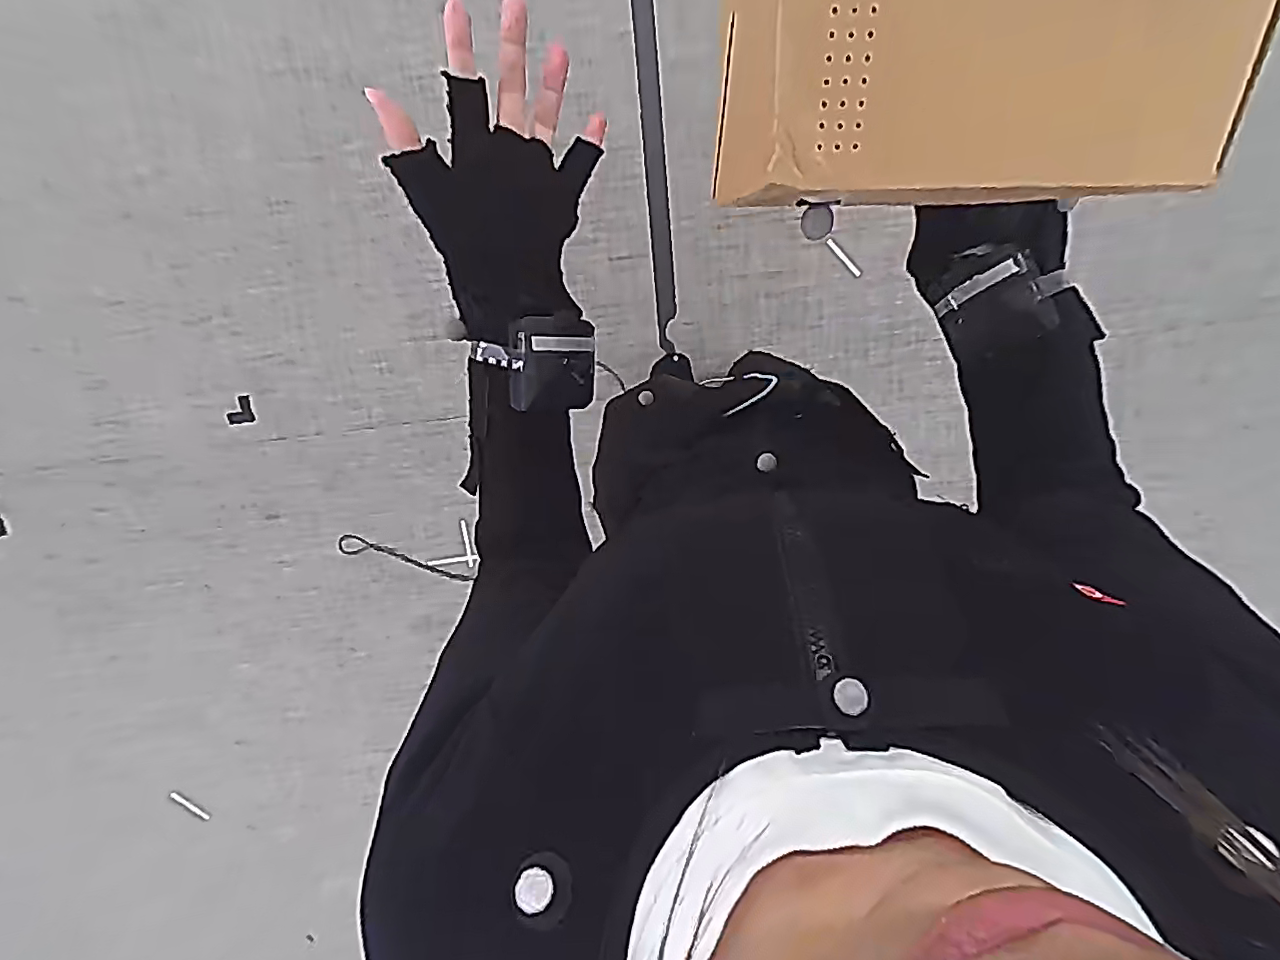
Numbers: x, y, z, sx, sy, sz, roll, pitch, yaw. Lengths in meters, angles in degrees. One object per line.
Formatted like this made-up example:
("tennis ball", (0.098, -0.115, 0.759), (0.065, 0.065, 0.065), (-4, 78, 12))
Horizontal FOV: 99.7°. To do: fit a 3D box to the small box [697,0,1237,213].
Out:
("small box", (0.119, -0.225, 0.246), (0.176, 0.168, 0.179), (0, 114, 1))
